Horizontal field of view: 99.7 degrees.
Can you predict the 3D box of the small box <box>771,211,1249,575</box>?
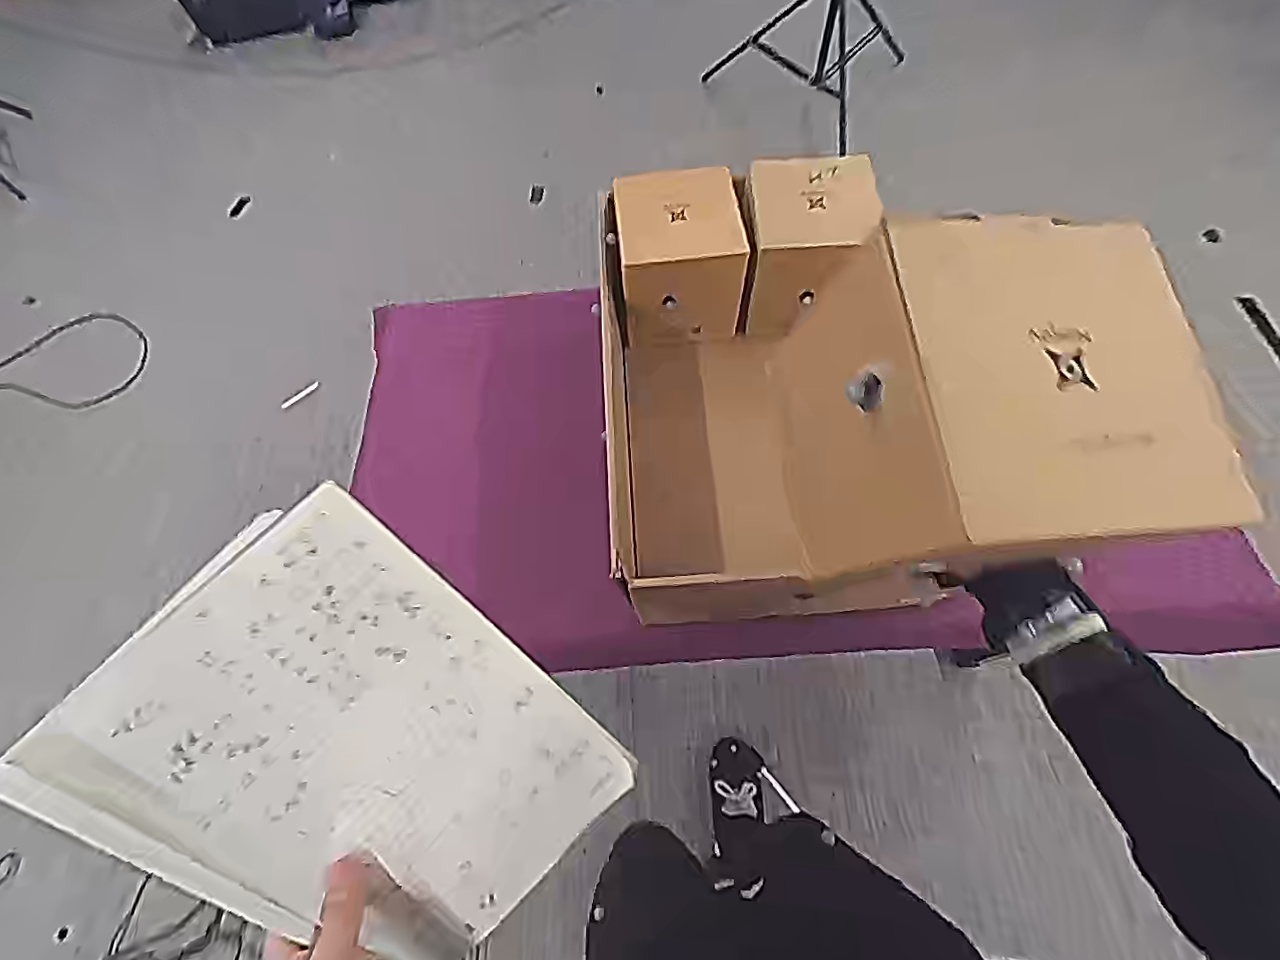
[{"bbox_3d":[0.199,-0.041,0.350,0.168,0.176,0.179,-4,75,-9],"label":"small box"}]
